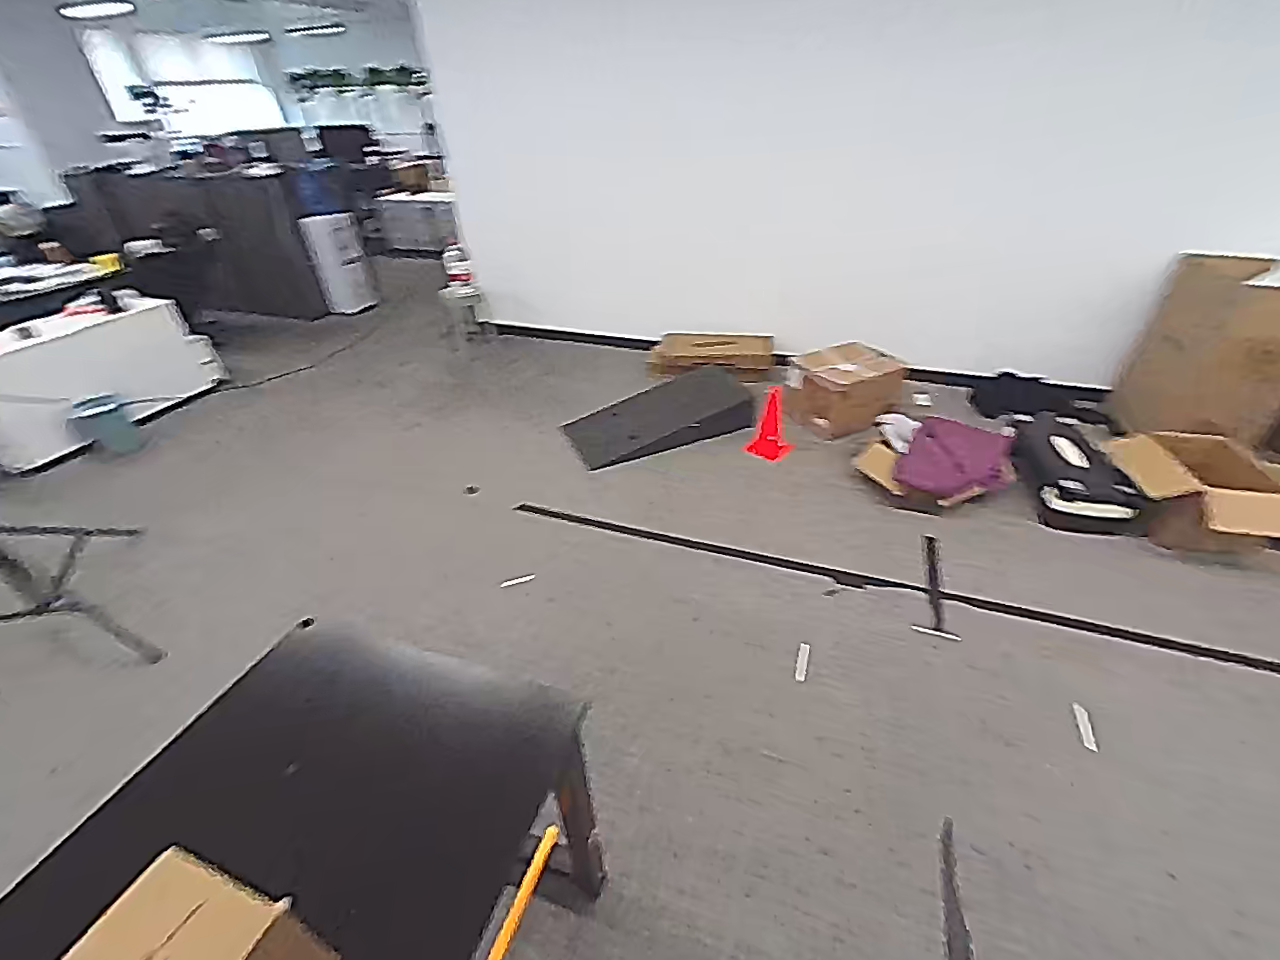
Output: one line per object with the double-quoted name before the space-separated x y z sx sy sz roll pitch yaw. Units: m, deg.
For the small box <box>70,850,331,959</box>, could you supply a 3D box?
"small box" -0.458 0.530 0.545 0.168 0.176 0.179 10 36 18
